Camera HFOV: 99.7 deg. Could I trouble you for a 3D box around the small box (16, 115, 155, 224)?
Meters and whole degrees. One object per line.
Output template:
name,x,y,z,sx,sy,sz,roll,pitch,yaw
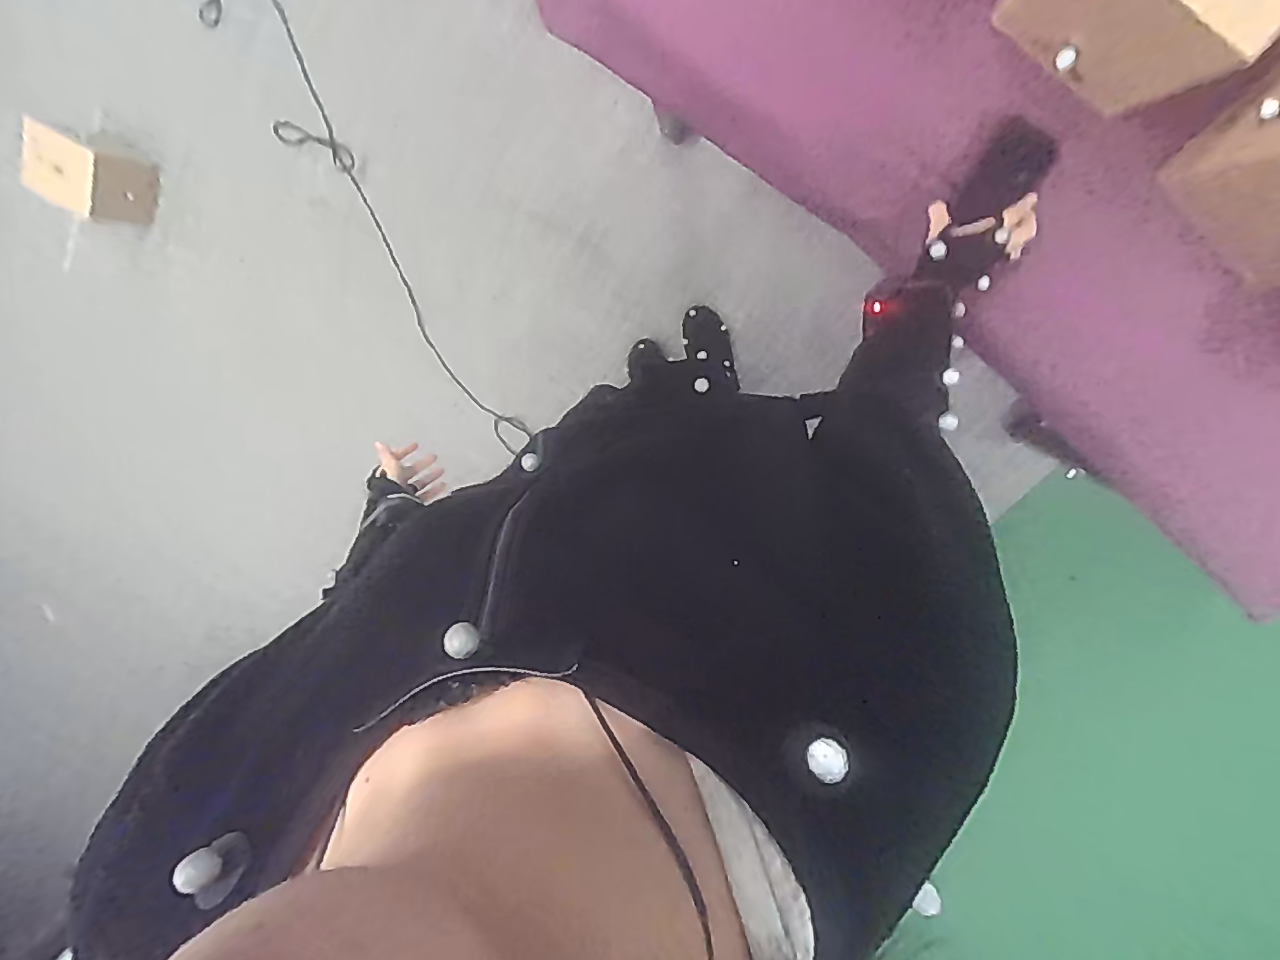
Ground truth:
small box,-1.372,-0.760,1.346,0.179,0.176,0.168,30,111,-4
